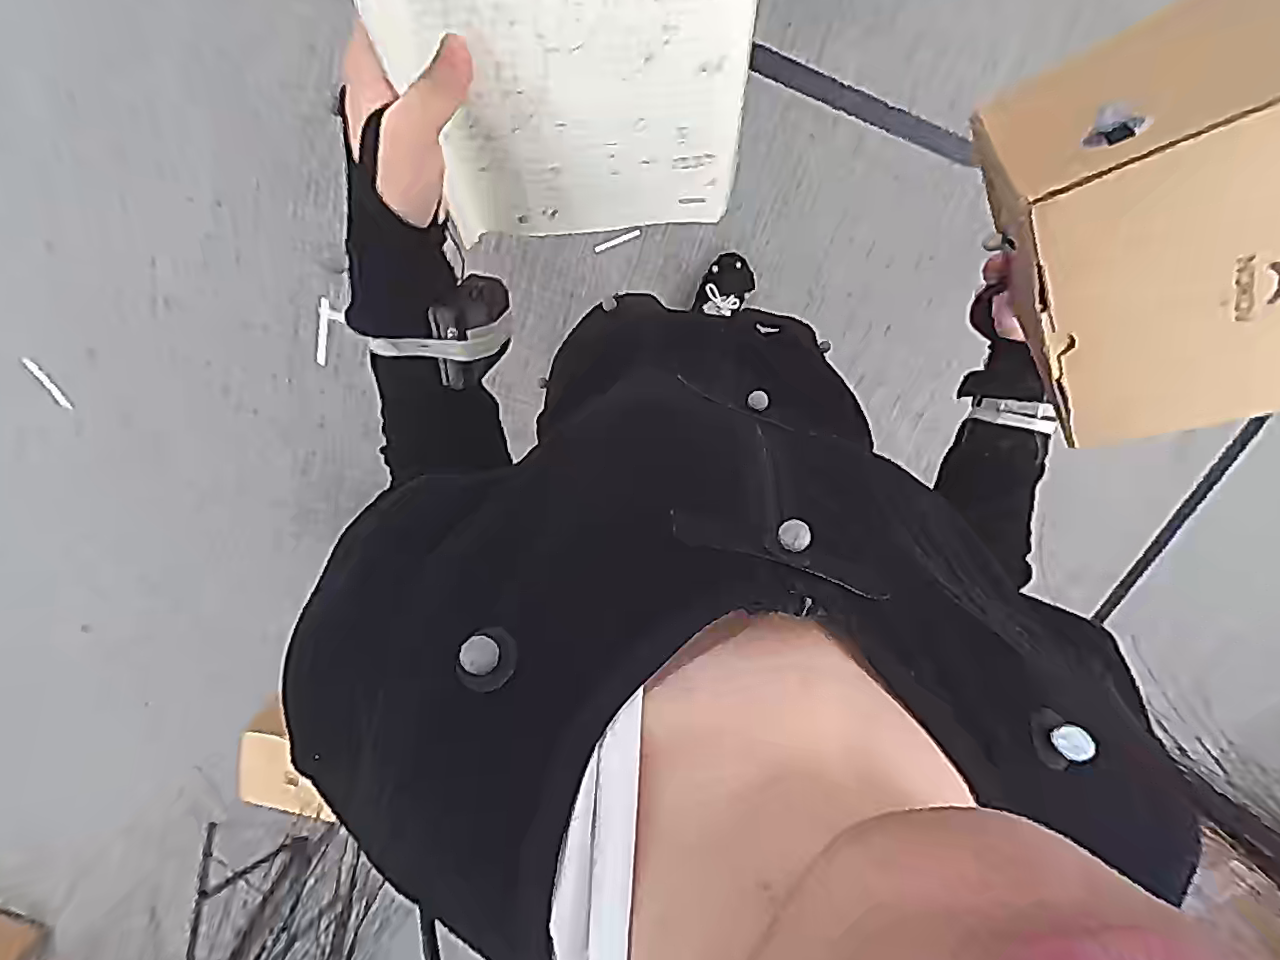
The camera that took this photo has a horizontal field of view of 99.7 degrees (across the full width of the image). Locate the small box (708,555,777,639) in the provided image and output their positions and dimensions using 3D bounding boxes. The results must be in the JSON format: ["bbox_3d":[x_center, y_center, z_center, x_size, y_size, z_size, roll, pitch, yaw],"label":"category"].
[{"bbox_3d":[0.296,0.339,1.585,0.179,0.176,0.168,-9,113,7],"label":"small box"}]

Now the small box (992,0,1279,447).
[{"bbox_3d":[0.316,-0.148,0.290,0.179,0.176,0.168,-14,129,34],"label":"small box"}]

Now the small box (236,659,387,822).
[{"bbox_3d":[-0.576,0.458,0.964,0.168,0.176,0.179,18,111,-7],"label":"small box"}]
